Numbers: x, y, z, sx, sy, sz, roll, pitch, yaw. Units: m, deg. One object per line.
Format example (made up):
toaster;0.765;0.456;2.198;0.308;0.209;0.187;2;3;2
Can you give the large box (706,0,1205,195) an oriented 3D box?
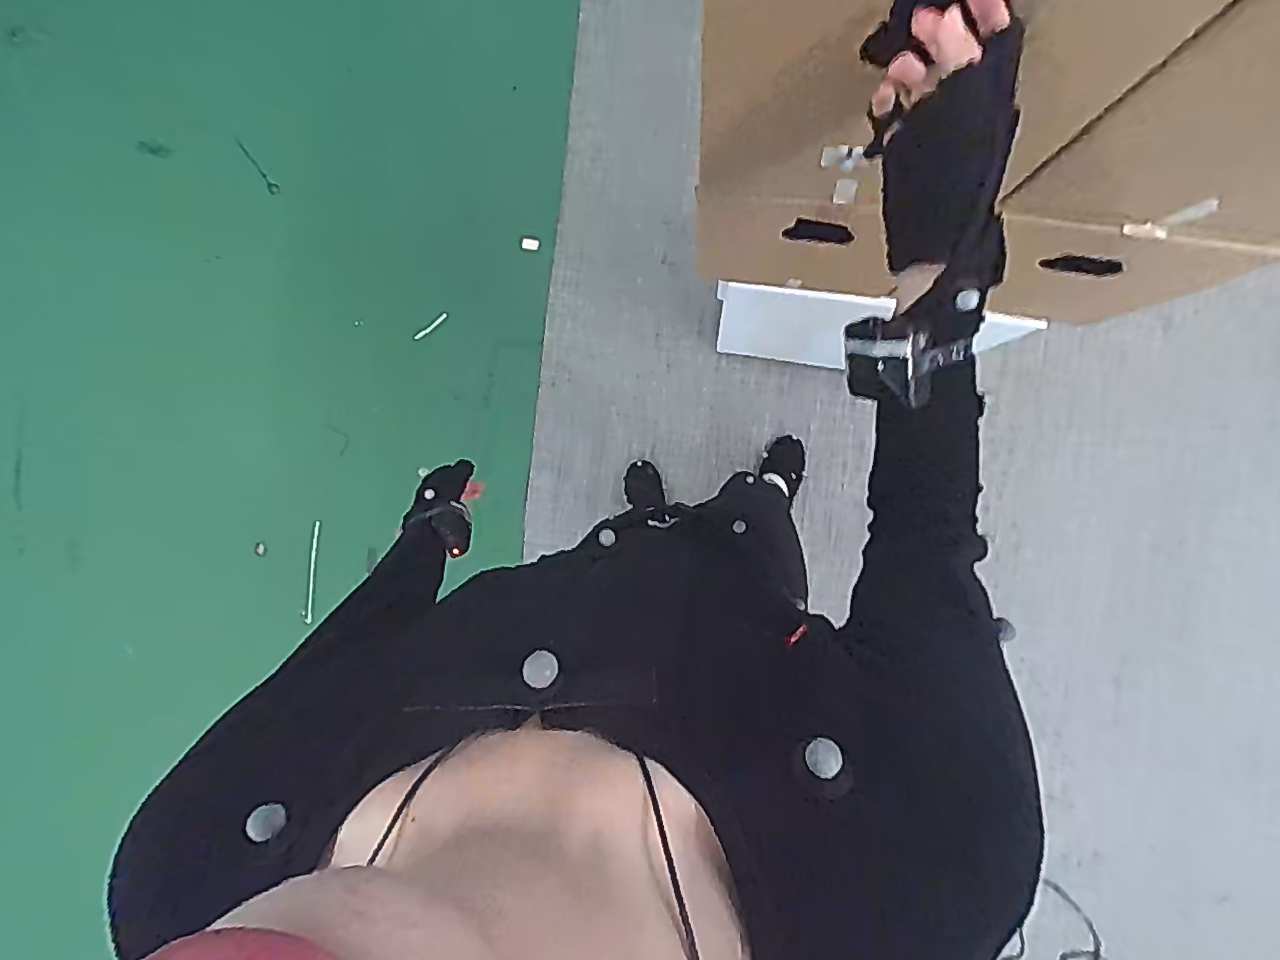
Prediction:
large box;0.216;-0.494;0.419;0.320;0.320;0.408;5;91;5
